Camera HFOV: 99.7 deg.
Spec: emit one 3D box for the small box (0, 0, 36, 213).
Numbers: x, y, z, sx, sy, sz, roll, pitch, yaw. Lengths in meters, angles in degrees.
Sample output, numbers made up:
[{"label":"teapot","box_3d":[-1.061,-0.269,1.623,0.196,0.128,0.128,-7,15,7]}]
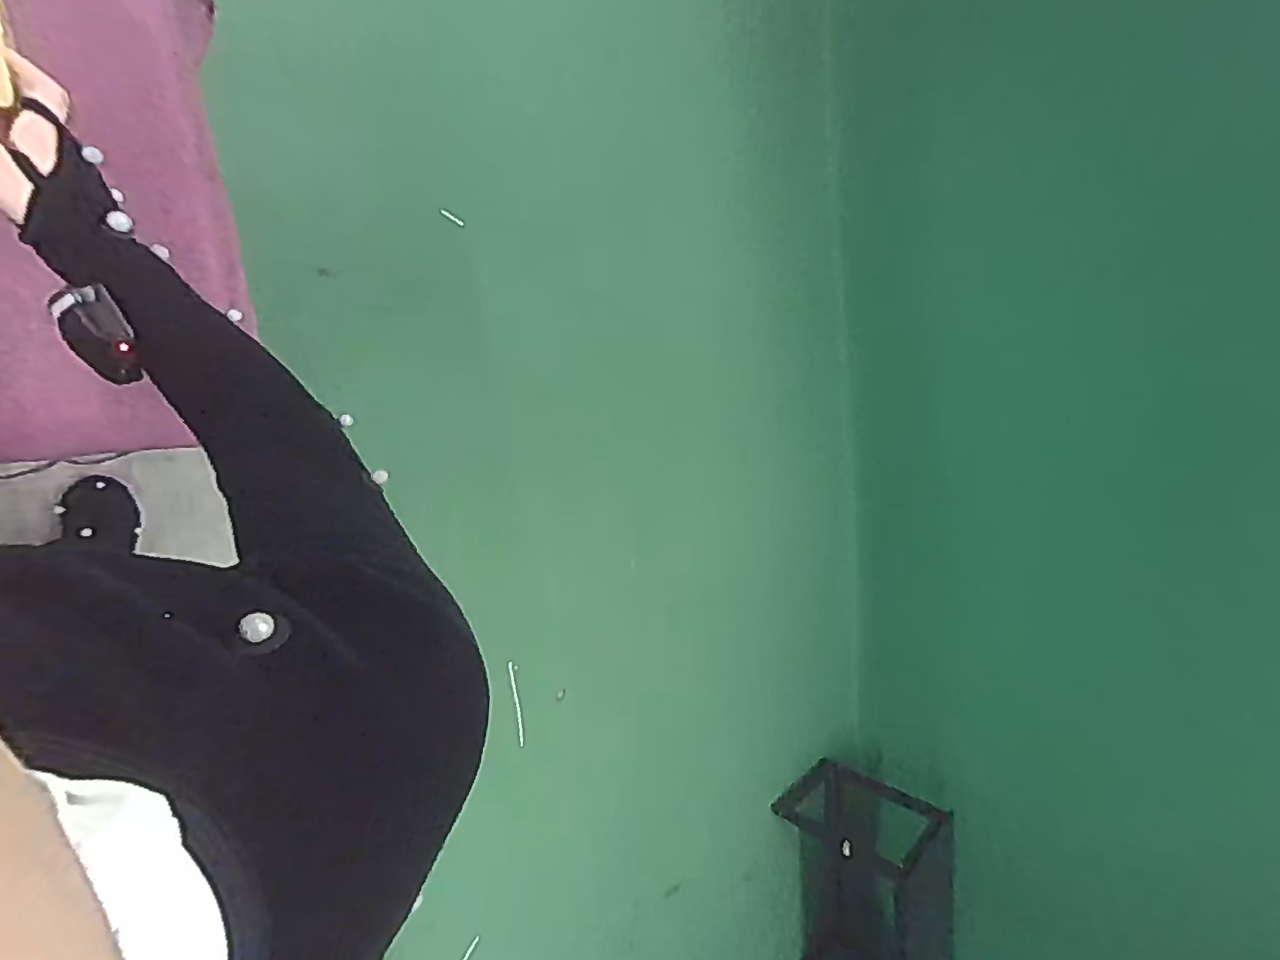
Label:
[{"label":"small box","box_3d":[-0.628,-0.356,0.437,0.168,0.176,0.179,-9,89,-44]}]
